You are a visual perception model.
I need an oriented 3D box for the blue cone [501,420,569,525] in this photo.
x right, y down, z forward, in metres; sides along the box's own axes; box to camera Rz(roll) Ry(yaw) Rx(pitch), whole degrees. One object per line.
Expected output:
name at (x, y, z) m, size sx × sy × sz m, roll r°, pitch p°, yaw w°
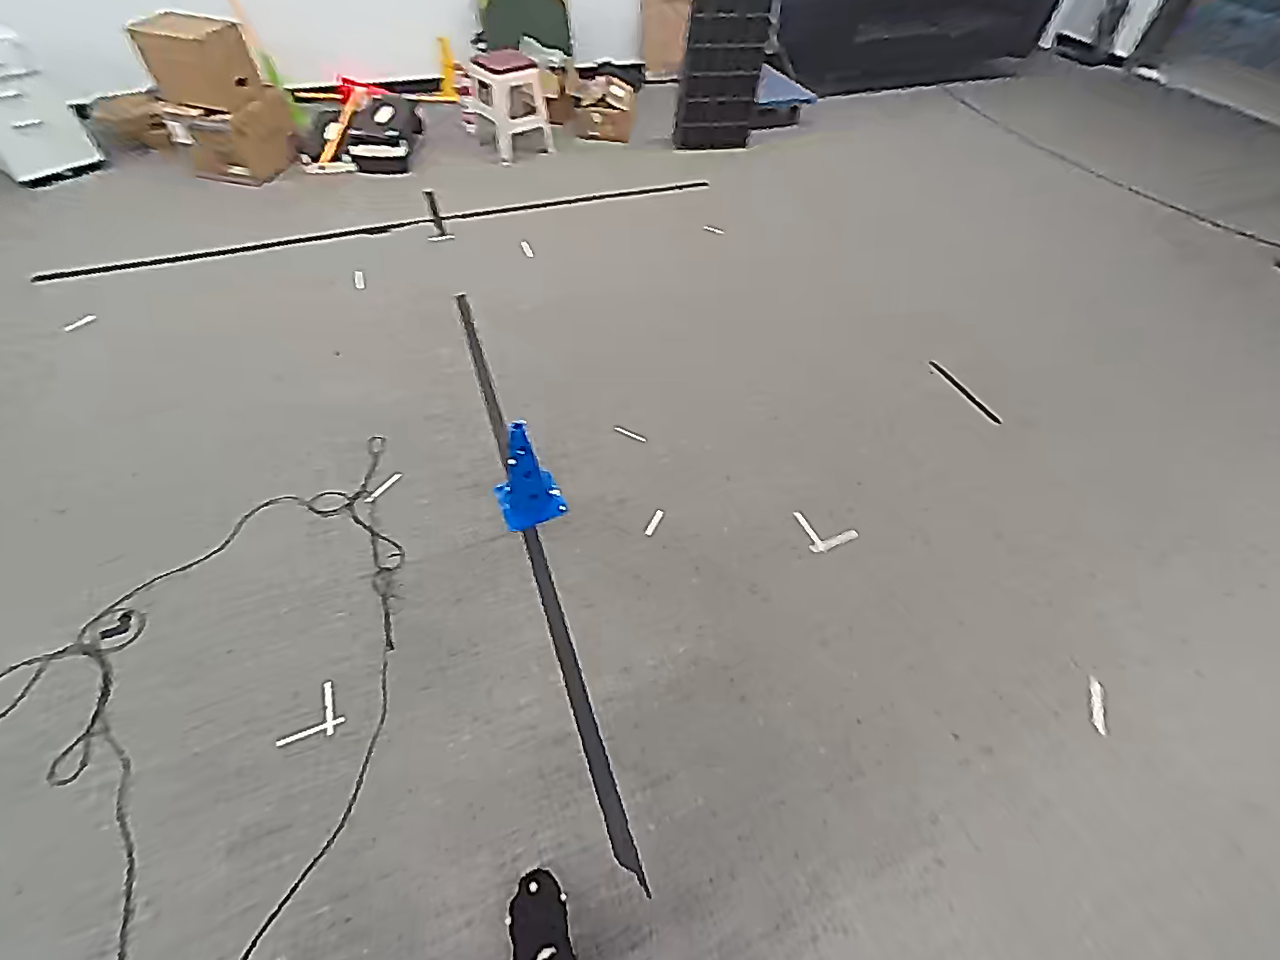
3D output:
blue cone at (-0.342, -0.042, 1.667) m, size 0.192 × 0.380 × 0.193 m, roll -17°, pitch 56°, yaw -18°
